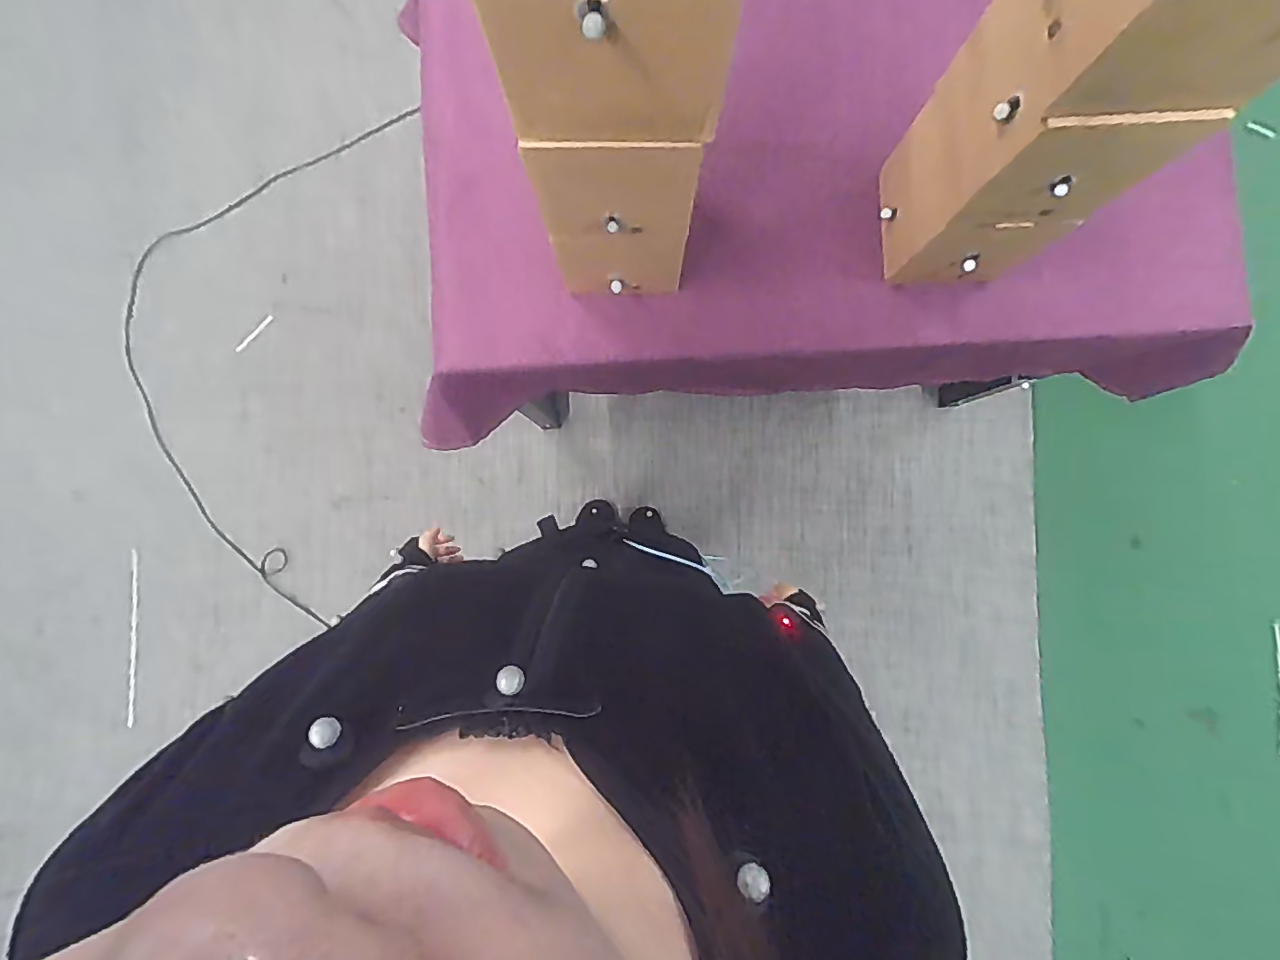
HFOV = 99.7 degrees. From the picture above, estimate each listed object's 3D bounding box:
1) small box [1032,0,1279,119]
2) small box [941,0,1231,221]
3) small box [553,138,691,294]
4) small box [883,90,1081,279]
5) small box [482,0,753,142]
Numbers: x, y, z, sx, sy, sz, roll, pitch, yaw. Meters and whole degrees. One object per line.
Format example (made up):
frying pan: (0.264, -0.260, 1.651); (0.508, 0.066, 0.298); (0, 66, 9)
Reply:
small box: (0.435, -0.403, 0.399); (0.179, 0.176, 0.168); (-2, 86, 1)
small box: (0.440, -0.390, 0.562); (0.168, 0.176, 0.179); (-2, 87, 0)
small box: (-0.022, -0.369, 0.727); (0.168, 0.176, 0.179); (0, 88, 0)
small box: (0.444, -0.383, 0.727); (0.168, 0.176, 0.179); (-1, 88, 0)
small box: (-0.013, -0.382, 0.400); (0.179, 0.176, 0.168); (1, 88, 1)
